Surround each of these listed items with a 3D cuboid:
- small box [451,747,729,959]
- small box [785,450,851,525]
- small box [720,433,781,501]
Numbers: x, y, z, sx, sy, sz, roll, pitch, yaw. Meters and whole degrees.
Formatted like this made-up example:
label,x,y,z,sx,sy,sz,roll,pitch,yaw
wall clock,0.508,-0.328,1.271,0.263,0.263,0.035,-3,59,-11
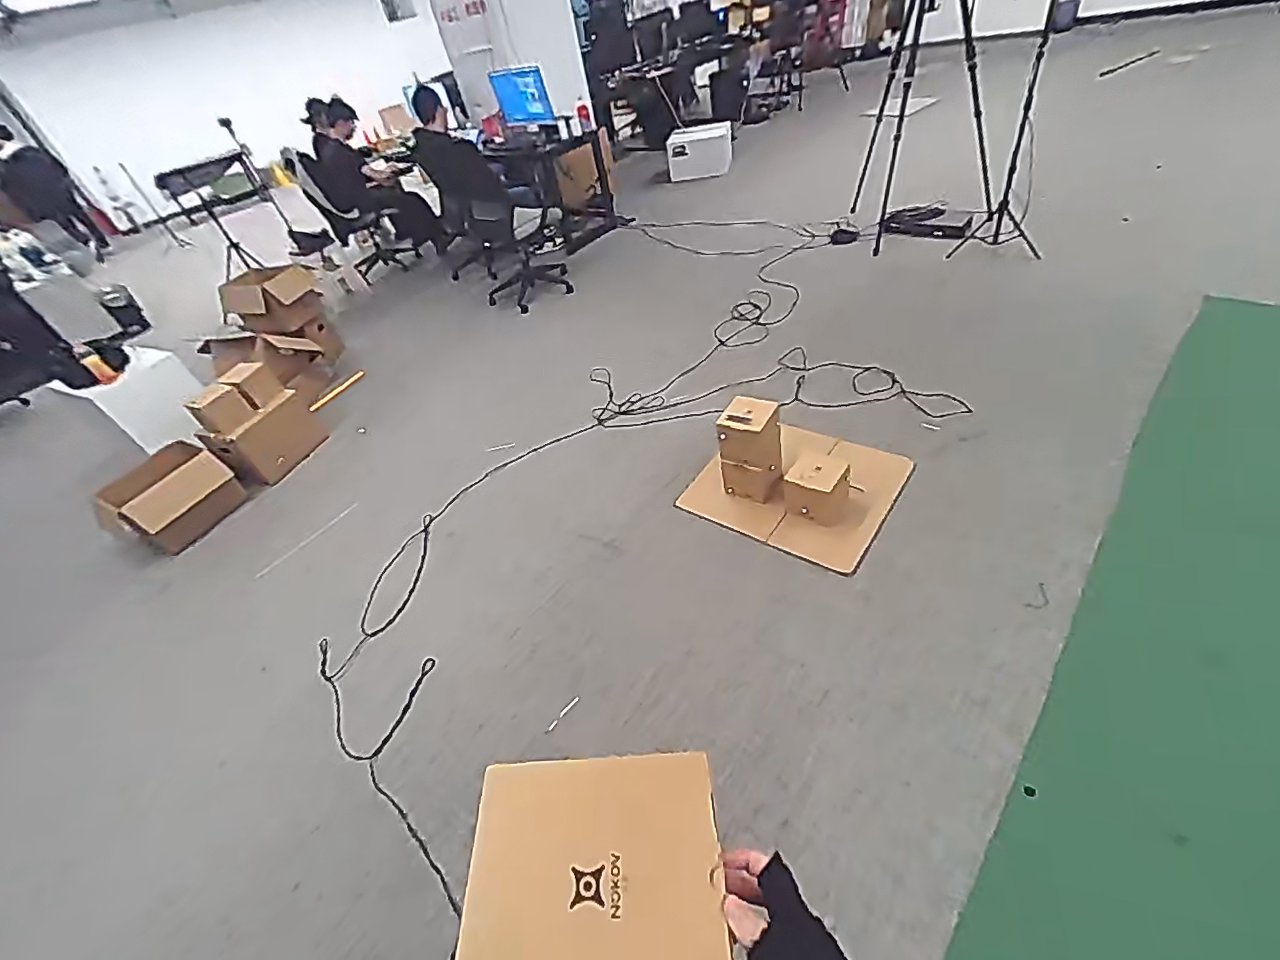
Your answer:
label,x,y,z,sx,sy,sz,roll,pitch,yaw
small box,-0.028,0.327,0.414,0.179,0.176,0.168,-4,42,1
small box,0.622,0.026,1.896,0.168,0.176,0.179,21,53,35
small box,0.422,-0.046,2.030,0.168,0.176,0.179,17,51,32
